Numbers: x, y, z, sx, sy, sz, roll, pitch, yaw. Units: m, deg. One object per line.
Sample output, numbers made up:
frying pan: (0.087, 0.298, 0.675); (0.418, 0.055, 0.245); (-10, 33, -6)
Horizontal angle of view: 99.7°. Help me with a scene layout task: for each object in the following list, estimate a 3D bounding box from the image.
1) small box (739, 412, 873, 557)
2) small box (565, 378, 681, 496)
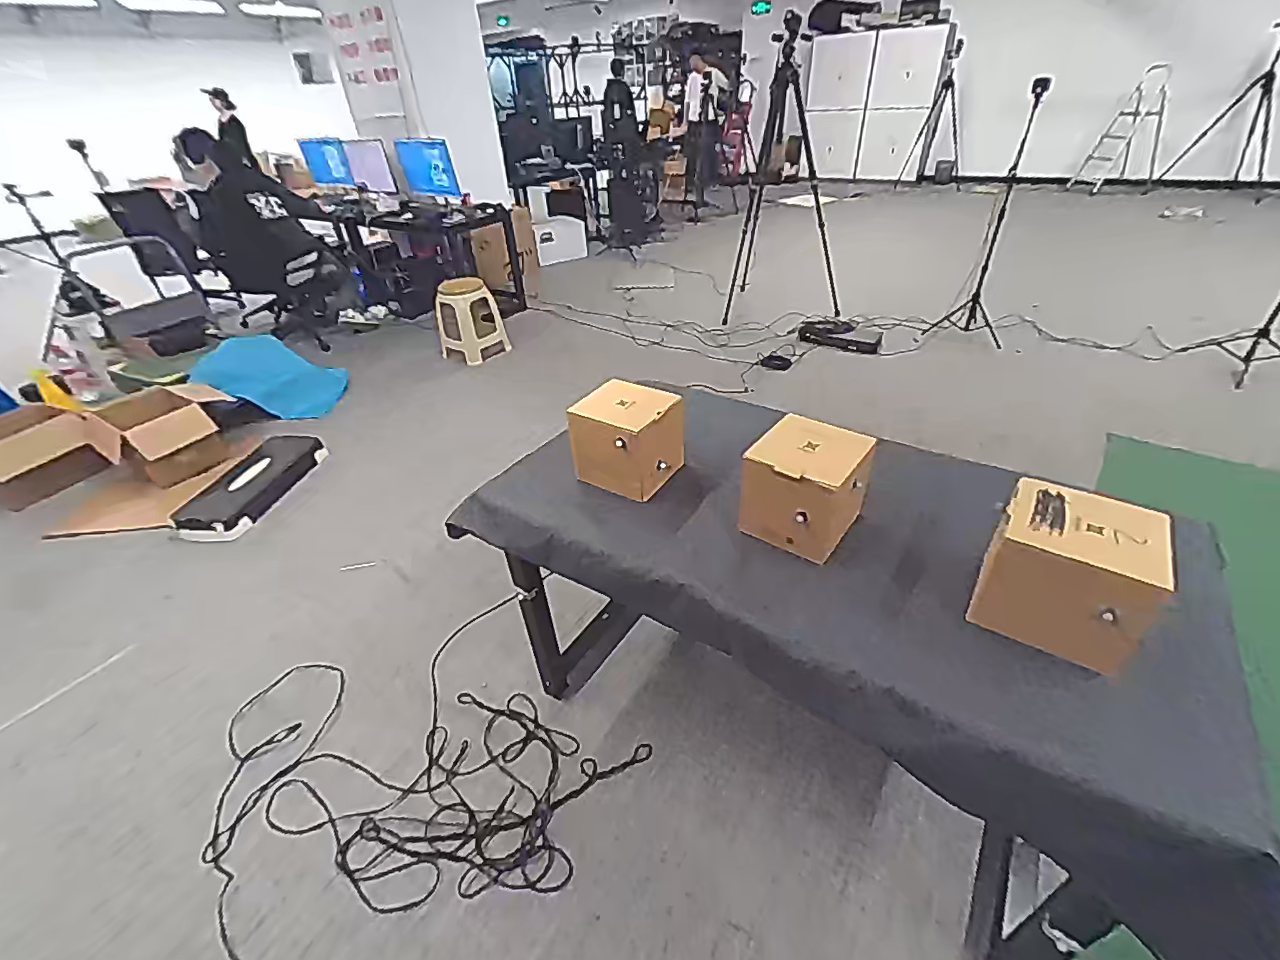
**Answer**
small box: (0.287, 0.007, 0.958); (0.168, 0.176, 0.179); (24, 43, 31)
small box: (-0.030, -0.090, 1.118); (0.179, 0.176, 0.168); (19, 42, 27)
